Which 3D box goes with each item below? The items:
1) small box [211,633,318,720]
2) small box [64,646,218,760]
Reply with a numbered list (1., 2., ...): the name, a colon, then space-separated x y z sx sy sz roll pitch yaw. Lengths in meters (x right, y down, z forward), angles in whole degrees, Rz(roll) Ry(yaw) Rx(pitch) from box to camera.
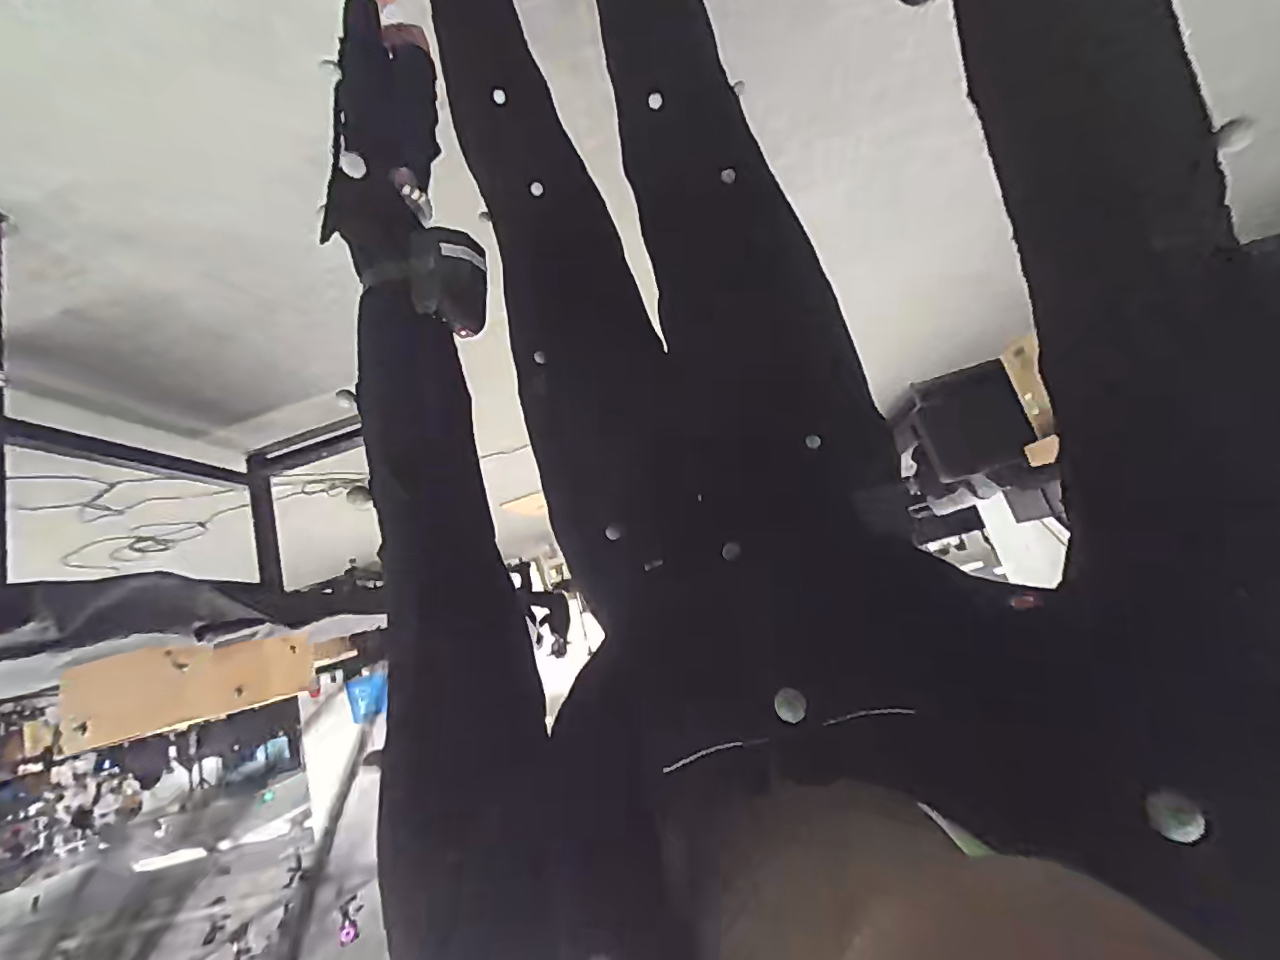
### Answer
1. small box: -0.980 0.505 1.407 0.179 0.176 0.168 -17 167 4
2. small box: -1.022 0.450 1.117 0.179 0.176 0.168 -17 167 4
